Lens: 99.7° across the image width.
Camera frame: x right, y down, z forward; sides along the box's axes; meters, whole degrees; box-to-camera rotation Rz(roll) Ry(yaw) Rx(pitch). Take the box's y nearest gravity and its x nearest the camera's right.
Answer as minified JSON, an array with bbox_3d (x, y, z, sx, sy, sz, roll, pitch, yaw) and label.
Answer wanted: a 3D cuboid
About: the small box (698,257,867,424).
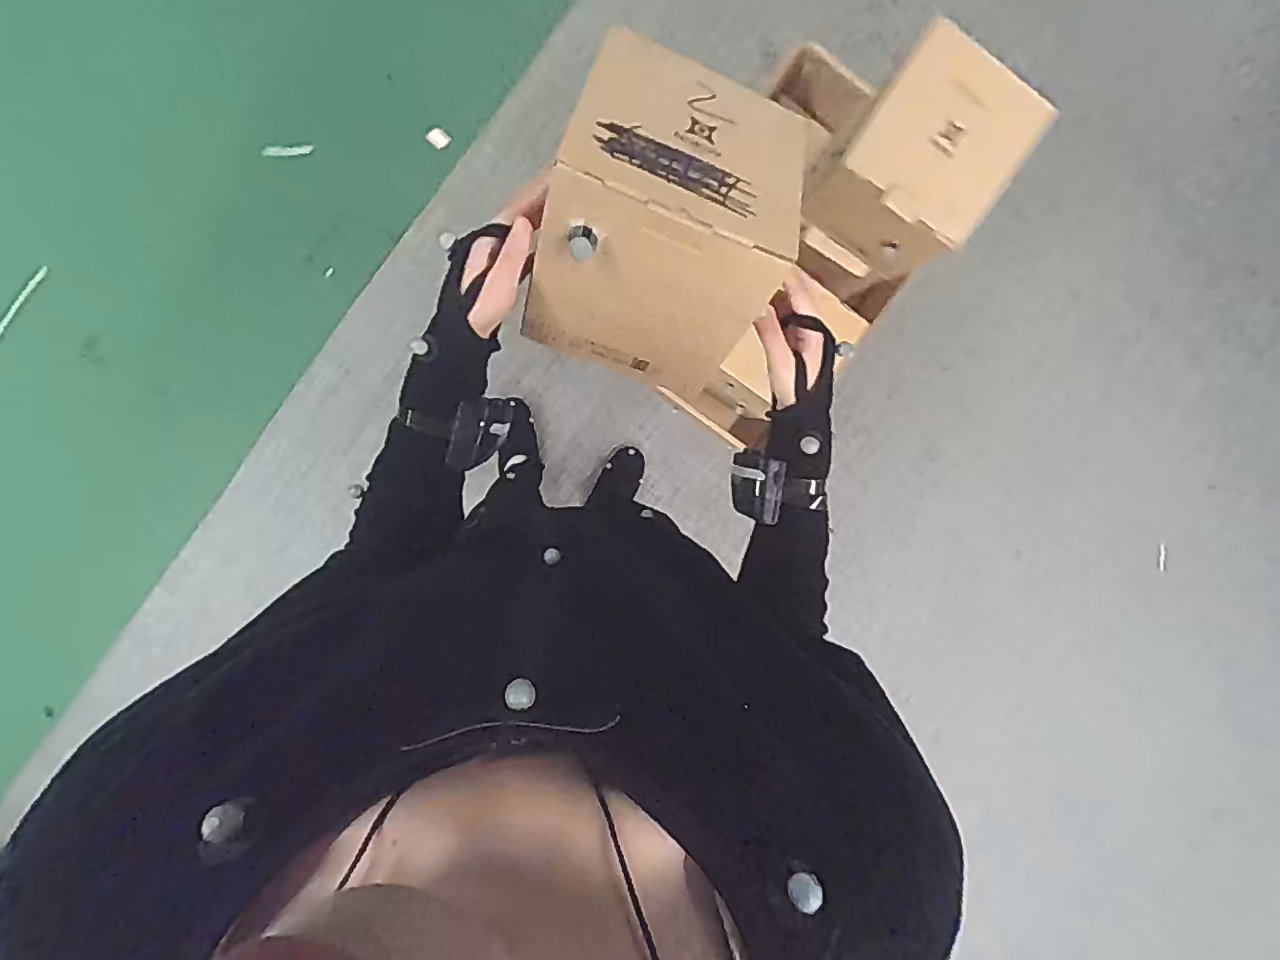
[{"bbox_3d":[0.206,-0.204,0.843,0.168,0.176,0.179,35,93,-7],"label":"small box"}]

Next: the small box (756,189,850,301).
[{"bbox_3d":[0.330,-0.435,0.988,0.168,0.176,0.179,32,98,-7],"label":"small box"}]

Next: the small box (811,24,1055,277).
[{"bbox_3d":[0.335,-0.379,0.666,0.168,0.176,0.179,34,96,-7],"label":"small box"}]

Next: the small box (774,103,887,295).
[{"bbox_3d":[0.325,-0.409,0.826,0.168,0.176,0.179,31,96,-6],"label":"small box"}]
